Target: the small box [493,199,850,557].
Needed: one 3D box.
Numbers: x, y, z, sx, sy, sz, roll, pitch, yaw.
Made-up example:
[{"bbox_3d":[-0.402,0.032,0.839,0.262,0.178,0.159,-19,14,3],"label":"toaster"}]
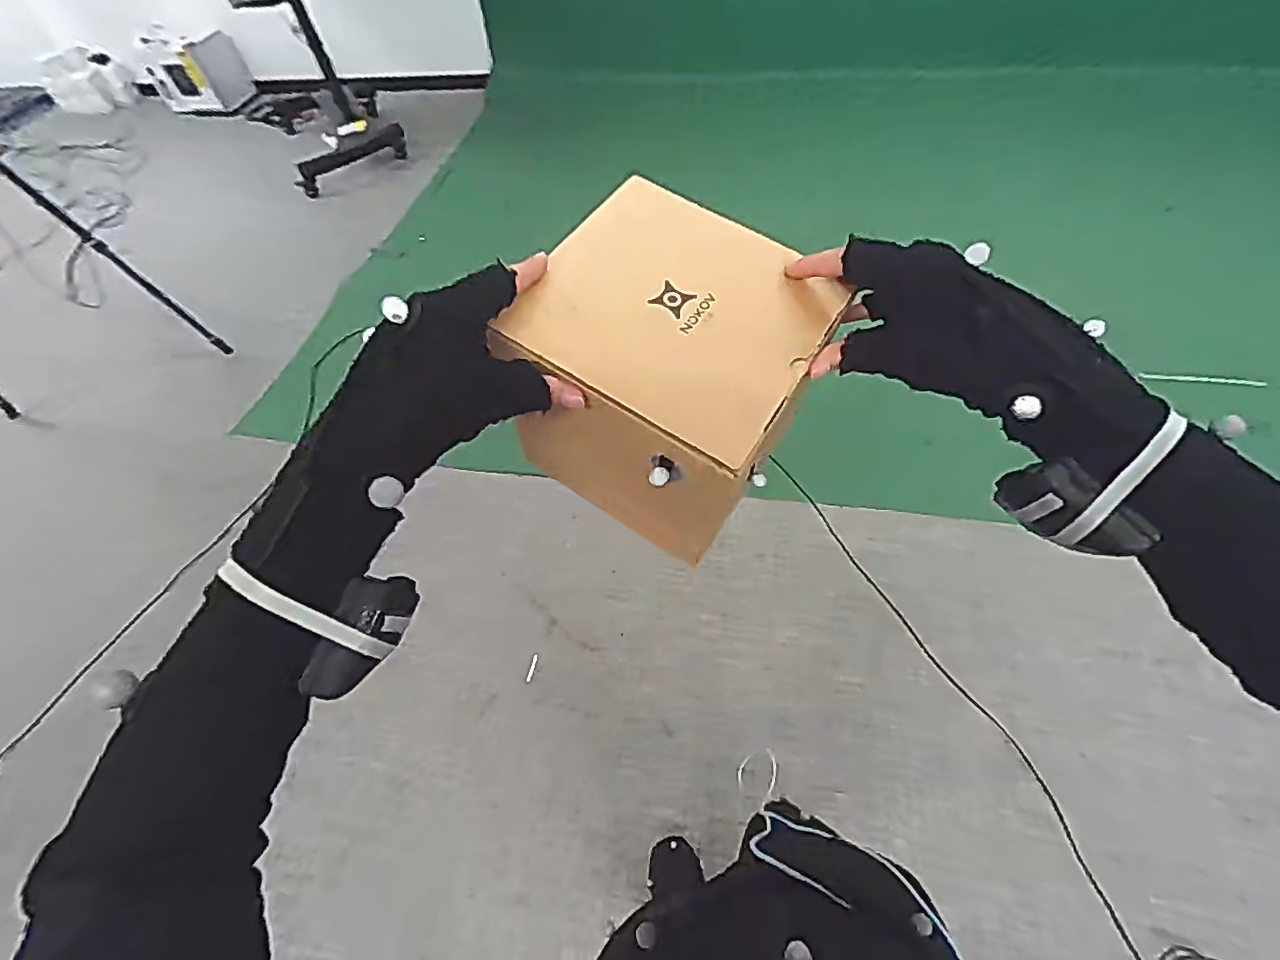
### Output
[{"bbox_3d":[0.018,-0.066,0.414,0.179,0.176,0.168,33,66,10],"label":"small box"}]
